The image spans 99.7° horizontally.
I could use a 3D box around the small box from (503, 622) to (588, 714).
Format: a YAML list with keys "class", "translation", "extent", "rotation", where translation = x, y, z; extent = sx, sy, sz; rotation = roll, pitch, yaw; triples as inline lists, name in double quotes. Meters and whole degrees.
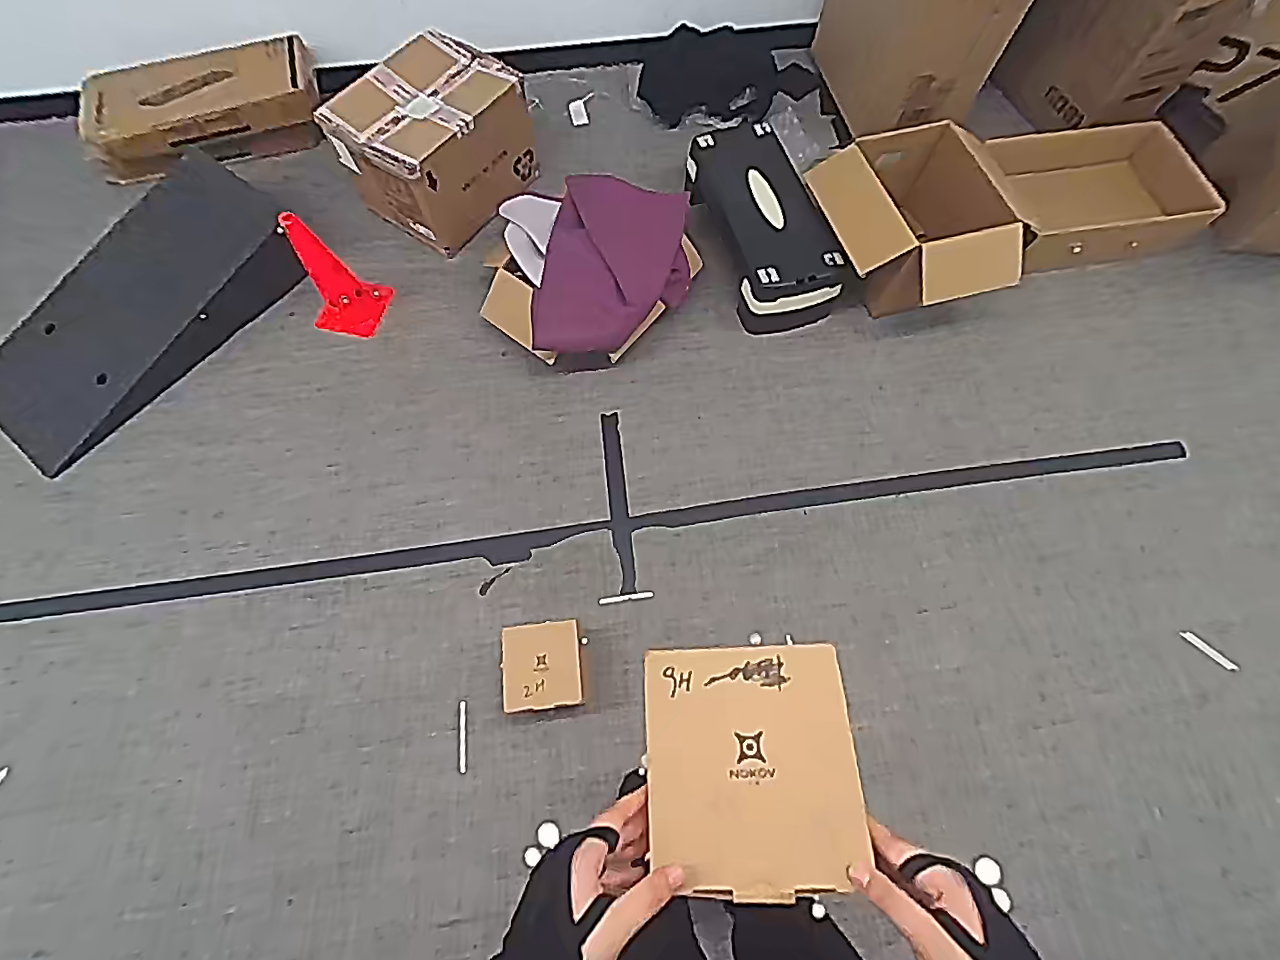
- class: "small box"
  translation: [-0.212, 0.430, 1.232]
  extent: [0.168, 0.176, 0.179]
  rotation: [-6, 68, -2]
